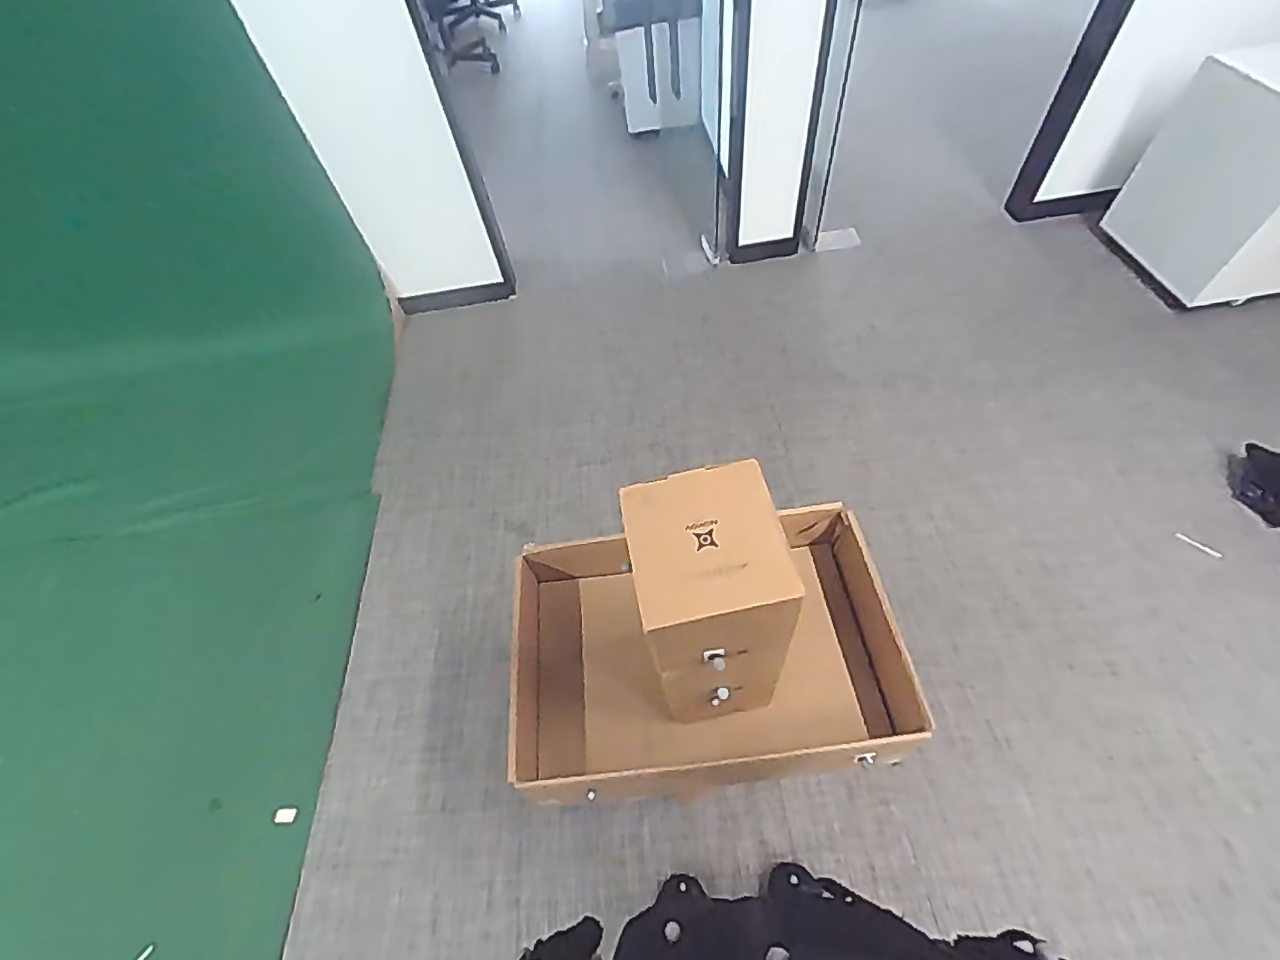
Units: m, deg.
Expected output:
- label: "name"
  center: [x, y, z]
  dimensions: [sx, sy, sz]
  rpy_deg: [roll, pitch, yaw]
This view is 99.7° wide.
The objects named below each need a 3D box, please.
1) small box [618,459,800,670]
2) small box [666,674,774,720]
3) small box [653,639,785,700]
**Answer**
- label: "small box"
  center: [0.076, 0.106, 0.648]
  dimensions: [0.168, 0.176, 0.179]
  rpy_deg: [-13, 56, 1]
- label: "small box"
  center: [0.116, 0.284, 0.916]
  dimensions: [0.168, 0.176, 0.179]
  rpy_deg: [-13, 54, 1]
- label: "small box"
  center: [0.095, 0.196, 0.780]
  dimensions: [0.168, 0.176, 0.179]
  rpy_deg: [-12, 55, 0]
